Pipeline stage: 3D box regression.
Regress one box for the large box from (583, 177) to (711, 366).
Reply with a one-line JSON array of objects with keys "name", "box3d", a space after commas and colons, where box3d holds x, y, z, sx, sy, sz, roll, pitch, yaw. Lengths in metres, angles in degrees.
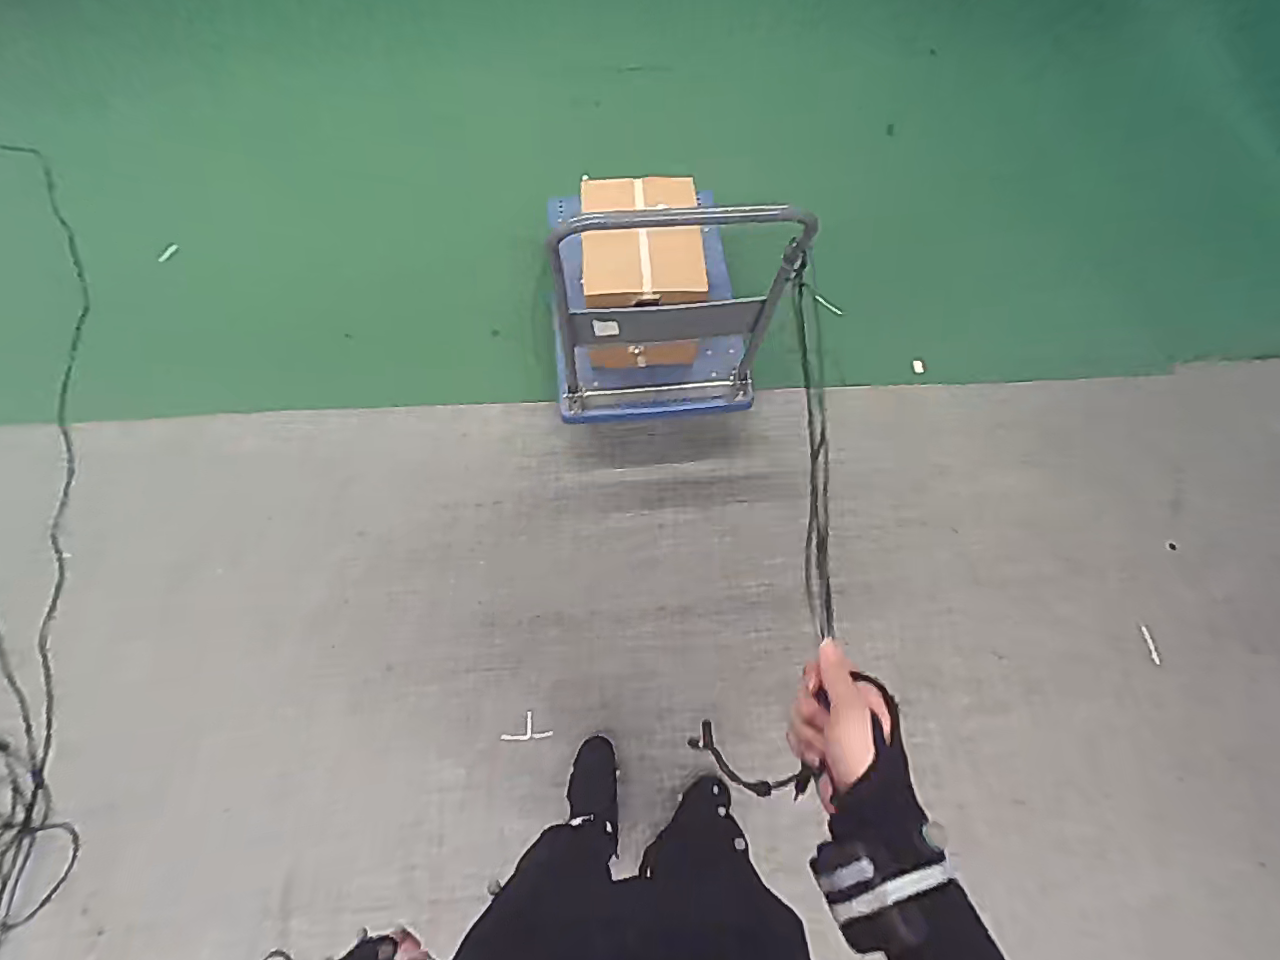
[{"name": "large box", "box3d": [0.009, -0.583, 1.540, 0.320, 0.320, 0.408, -2, 66, -3]}]
